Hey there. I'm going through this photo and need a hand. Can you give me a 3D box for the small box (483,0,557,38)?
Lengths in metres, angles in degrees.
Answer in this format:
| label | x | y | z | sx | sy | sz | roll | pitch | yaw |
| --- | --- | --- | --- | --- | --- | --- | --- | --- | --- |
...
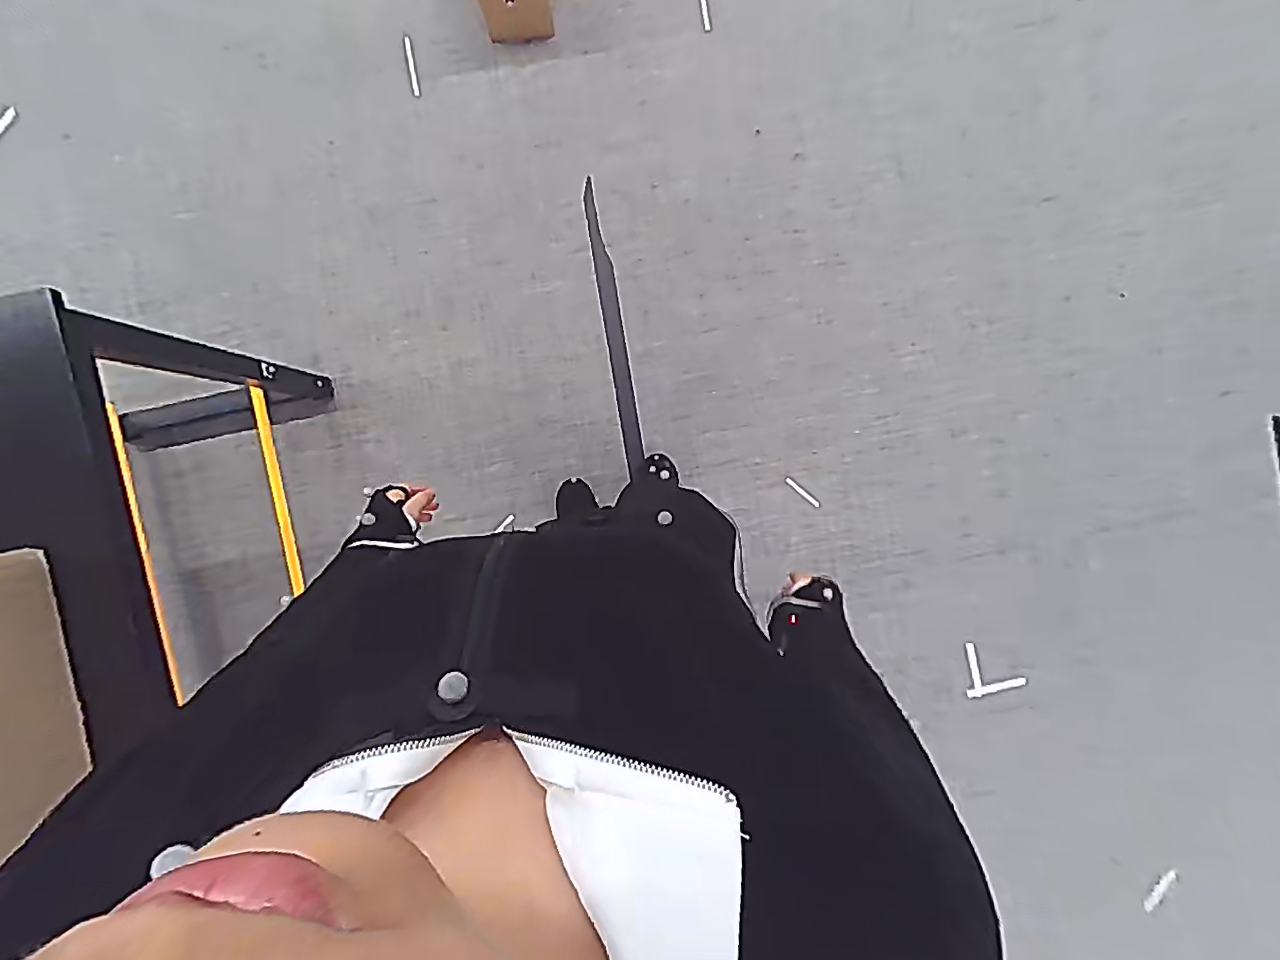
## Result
| label | x | y | z | sx | sy | sz | roll | pitch | yaw |
| --- | --- | --- | --- | --- | --- | --- | --- | --- | --- |
| small box | -0.311 | -1.255 | 1.355 | 0.179 | 0.176 | 0.168 | -7 | 93 | -2 |
